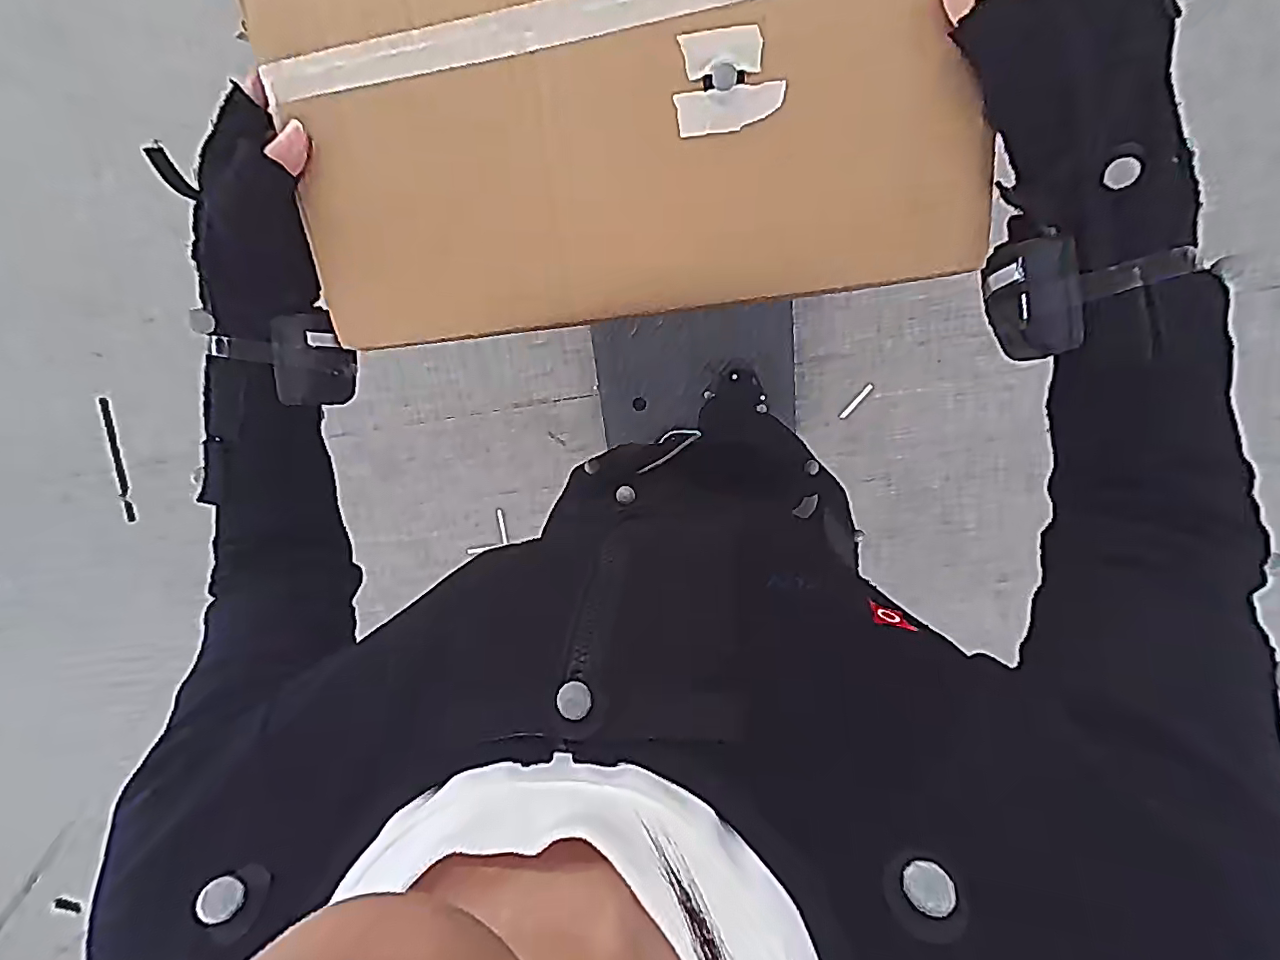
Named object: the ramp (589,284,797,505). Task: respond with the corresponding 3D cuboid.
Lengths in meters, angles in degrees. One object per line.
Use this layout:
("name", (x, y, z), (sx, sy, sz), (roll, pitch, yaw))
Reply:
("ramp", (0.117, -0.416, 1.302), (0.509, 0.206, 0.991), (-6, 99, 9))

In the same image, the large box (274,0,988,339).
("large box", (-0.001, -0.307, 0.443), (0.408, 0.320, 0.320), (-5, 108, 9))
